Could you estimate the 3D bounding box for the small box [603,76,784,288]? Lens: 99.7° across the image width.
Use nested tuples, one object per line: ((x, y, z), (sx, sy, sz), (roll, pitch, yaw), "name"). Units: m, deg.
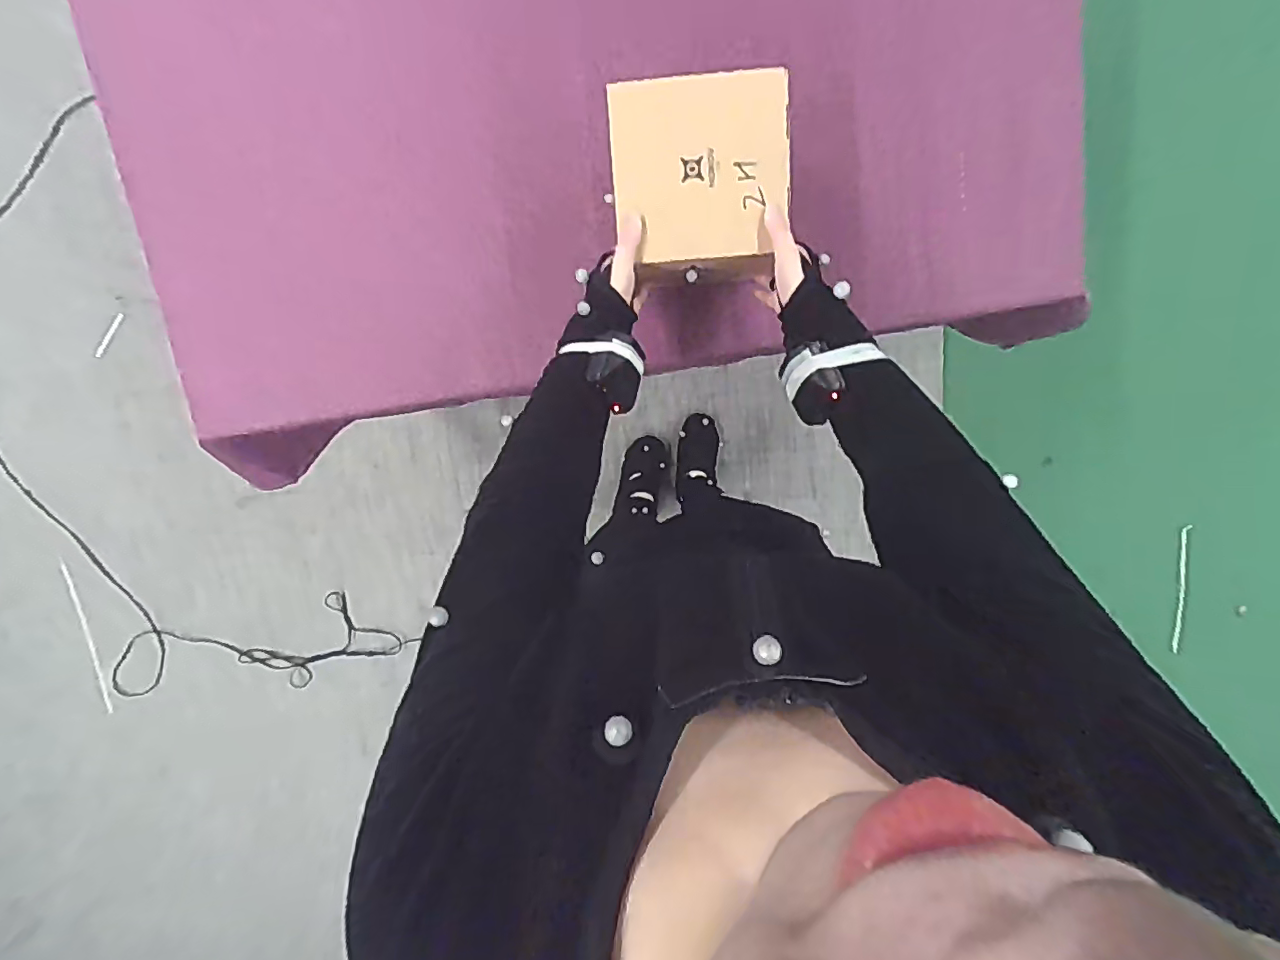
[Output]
((0.059, -0.318, 0.614), (0.179, 0.176, 0.168), (-3, 102, 3), "small box")
